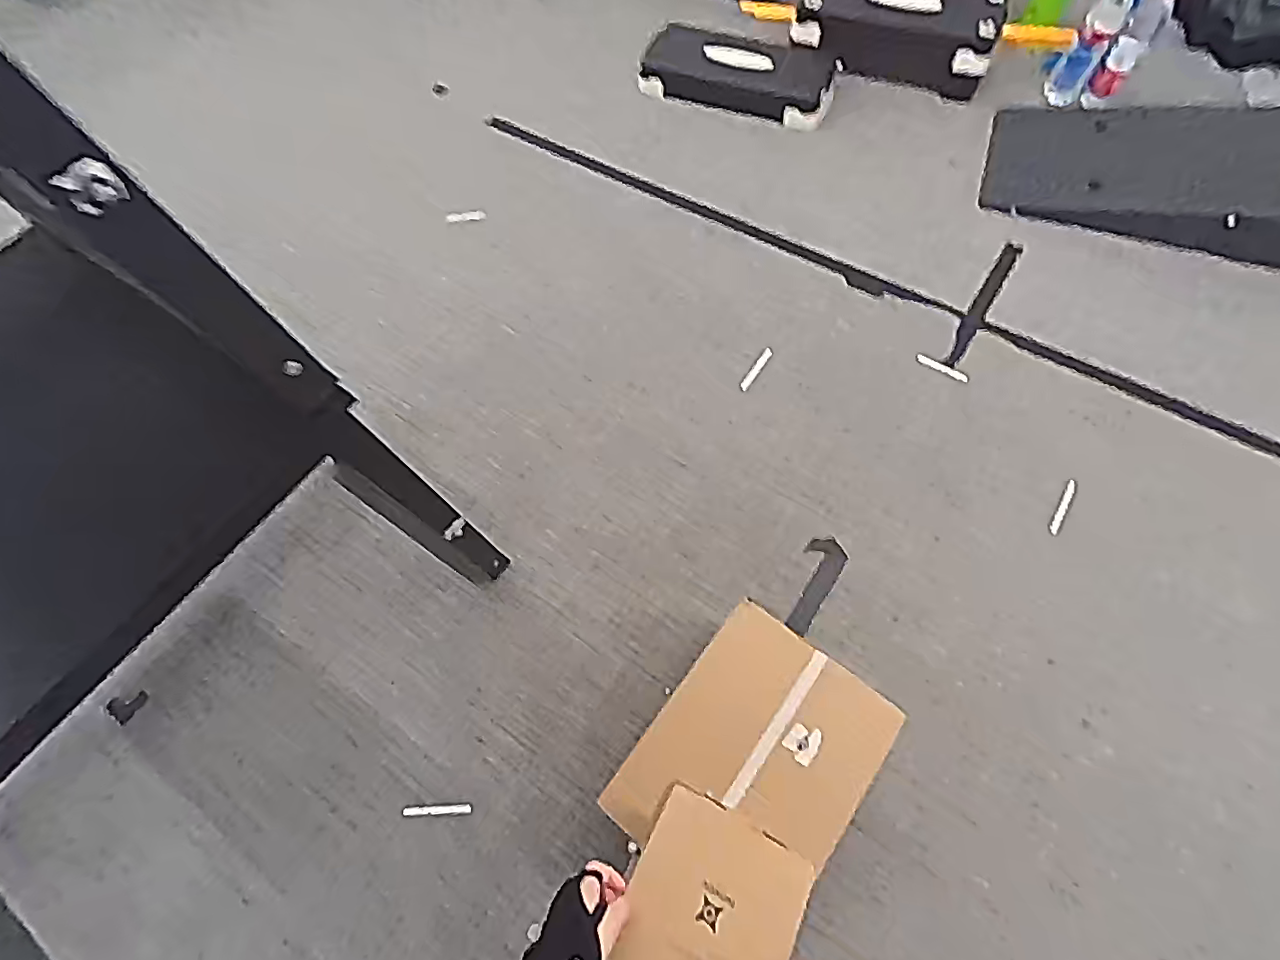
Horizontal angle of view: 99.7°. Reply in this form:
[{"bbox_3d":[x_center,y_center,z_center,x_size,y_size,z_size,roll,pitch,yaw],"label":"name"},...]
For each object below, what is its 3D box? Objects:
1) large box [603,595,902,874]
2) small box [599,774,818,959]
[{"bbox_3d":[0.185,0.487,0.973,0.320,0.320,0.408,36,72,16],"label":"large box"},{"bbox_3d":[0.067,0.461,0.596,0.168,0.176,0.179,28,59,15],"label":"small box"}]
